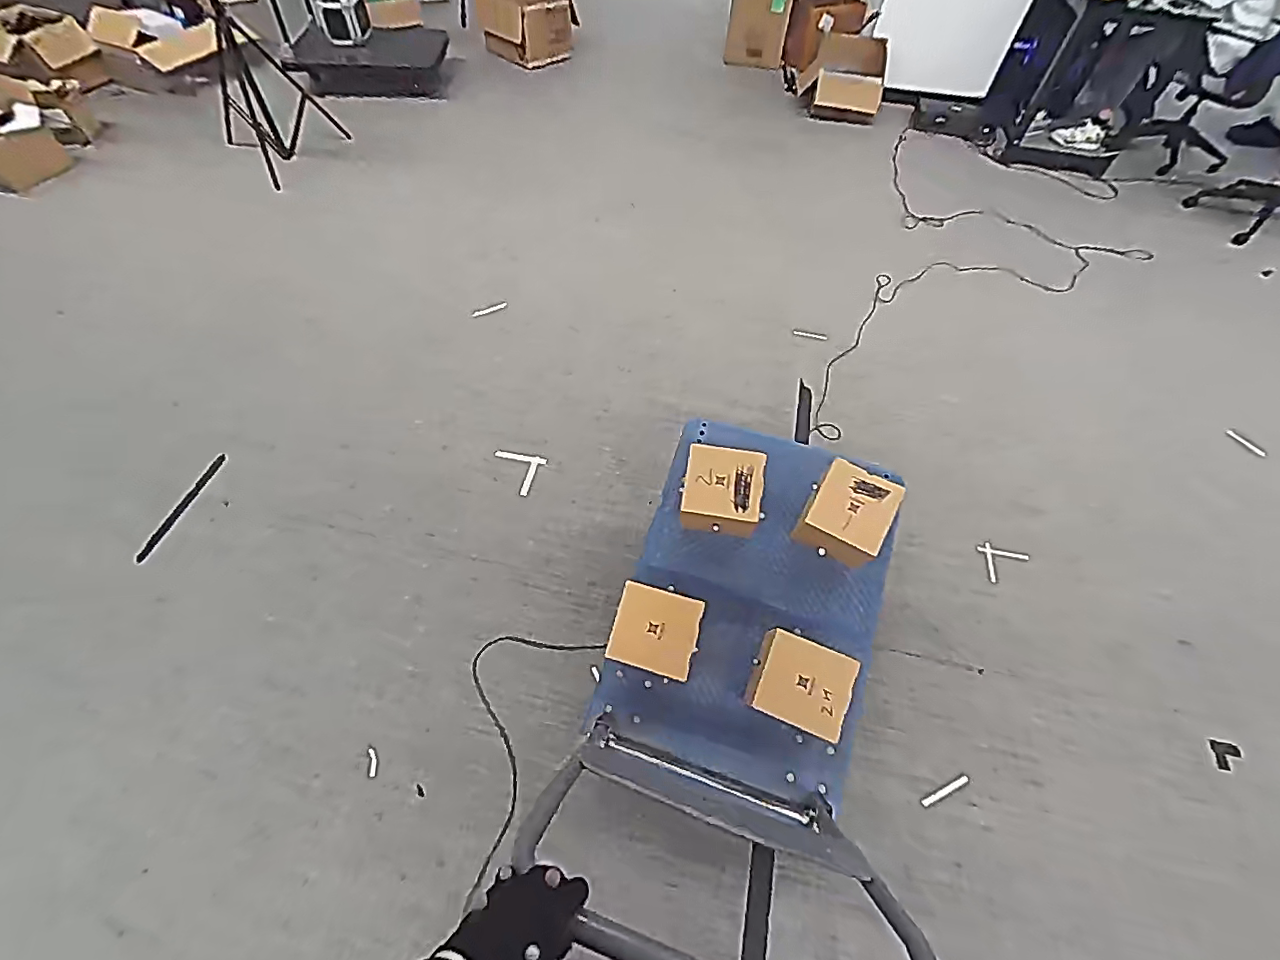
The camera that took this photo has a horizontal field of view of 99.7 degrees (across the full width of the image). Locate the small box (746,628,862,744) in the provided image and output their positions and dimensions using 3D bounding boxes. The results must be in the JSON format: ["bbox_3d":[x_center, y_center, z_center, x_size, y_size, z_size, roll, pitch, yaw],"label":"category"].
[{"bbox_3d":[0.336,0.432,1.145,0.179,0.176,0.168,22,75,11],"label":"small box"}]

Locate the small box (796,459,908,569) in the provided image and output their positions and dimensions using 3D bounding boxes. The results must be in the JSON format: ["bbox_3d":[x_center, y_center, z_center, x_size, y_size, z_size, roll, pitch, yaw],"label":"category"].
[{"bbox_3d":[0.481,0.084,1.253,0.168,0.176,0.179,28,76,12],"label":"small box"}]

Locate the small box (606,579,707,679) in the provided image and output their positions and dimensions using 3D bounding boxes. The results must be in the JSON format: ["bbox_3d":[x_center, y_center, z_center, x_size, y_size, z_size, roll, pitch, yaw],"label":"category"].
[{"bbox_3d":[0.039,0.334,1.198,0.179,0.176,0.168,15,73,7],"label":"small box"}]
